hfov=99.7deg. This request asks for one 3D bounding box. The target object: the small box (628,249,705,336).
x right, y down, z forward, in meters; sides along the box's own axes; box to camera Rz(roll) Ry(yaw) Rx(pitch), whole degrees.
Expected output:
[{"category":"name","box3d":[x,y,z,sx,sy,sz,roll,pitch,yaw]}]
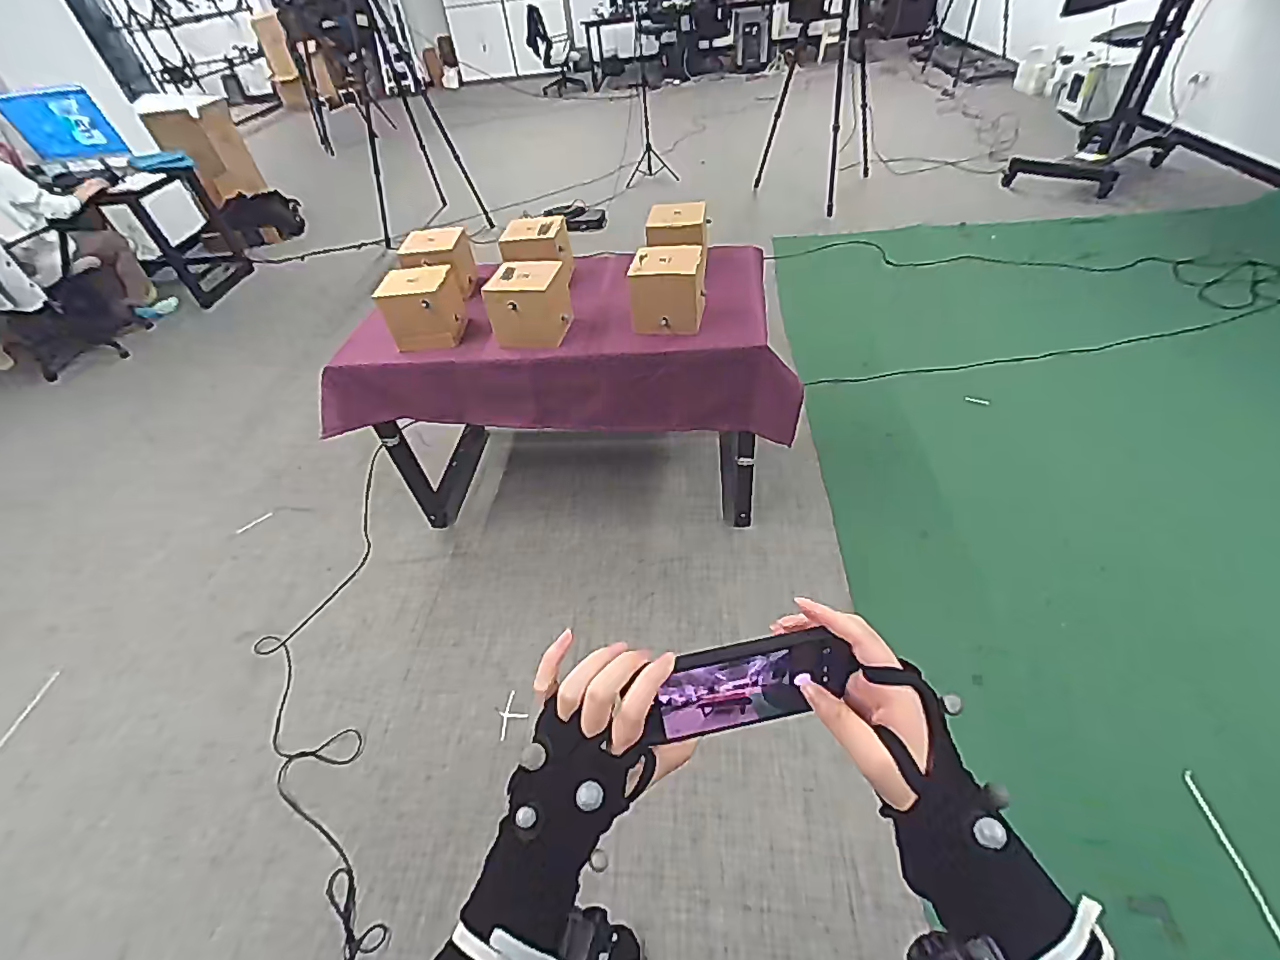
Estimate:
[{"category":"small box","box3d":[0.077,-0.498,1.443,0.179,0.176,0.168,5,46,12]}]

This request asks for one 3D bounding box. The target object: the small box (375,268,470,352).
[{"category":"small box","box3d":[-0.601,-0.474,1.516,0.179,0.176,0.168,-4,45,2]}]

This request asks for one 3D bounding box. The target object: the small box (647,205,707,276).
[{"category":"small box","box3d":[0.118,-0.722,1.658,0.168,0.176,0.179,1,46,10]}]

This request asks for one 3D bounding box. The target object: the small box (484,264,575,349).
[{"category":"small box","box3d":[-0.292,-0.468,1.466,0.179,0.176,0.168,4,46,11]}]
